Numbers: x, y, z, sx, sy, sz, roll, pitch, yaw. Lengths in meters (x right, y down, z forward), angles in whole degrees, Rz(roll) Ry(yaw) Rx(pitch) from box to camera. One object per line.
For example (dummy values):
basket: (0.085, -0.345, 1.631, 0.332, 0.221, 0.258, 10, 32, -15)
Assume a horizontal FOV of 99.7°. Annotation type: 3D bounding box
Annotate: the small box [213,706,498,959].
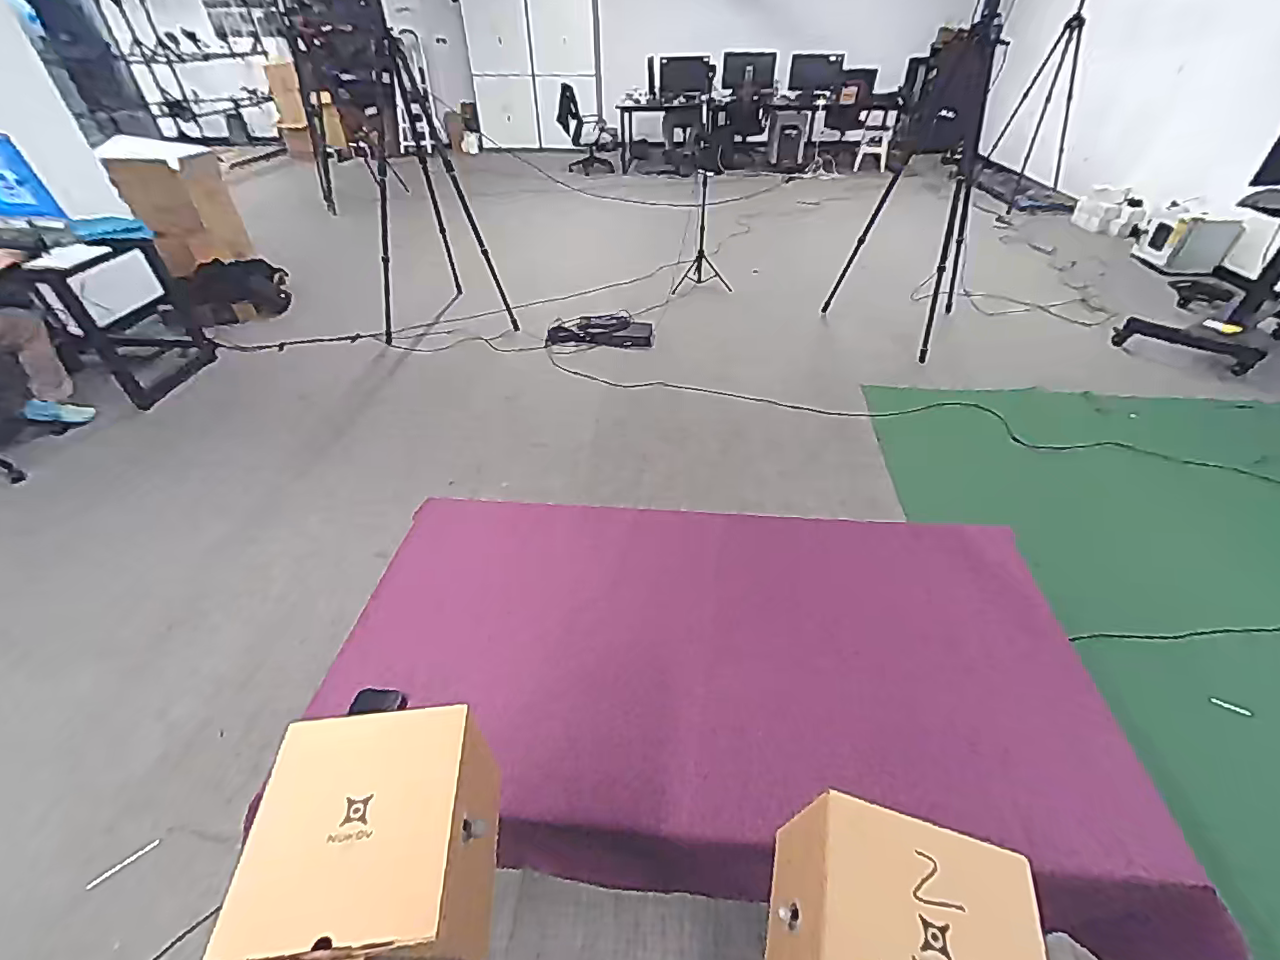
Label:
small box: (-0.235, 0.340, 0.509, 0.168, 0.176, 0.179, -4, 44, -3)
